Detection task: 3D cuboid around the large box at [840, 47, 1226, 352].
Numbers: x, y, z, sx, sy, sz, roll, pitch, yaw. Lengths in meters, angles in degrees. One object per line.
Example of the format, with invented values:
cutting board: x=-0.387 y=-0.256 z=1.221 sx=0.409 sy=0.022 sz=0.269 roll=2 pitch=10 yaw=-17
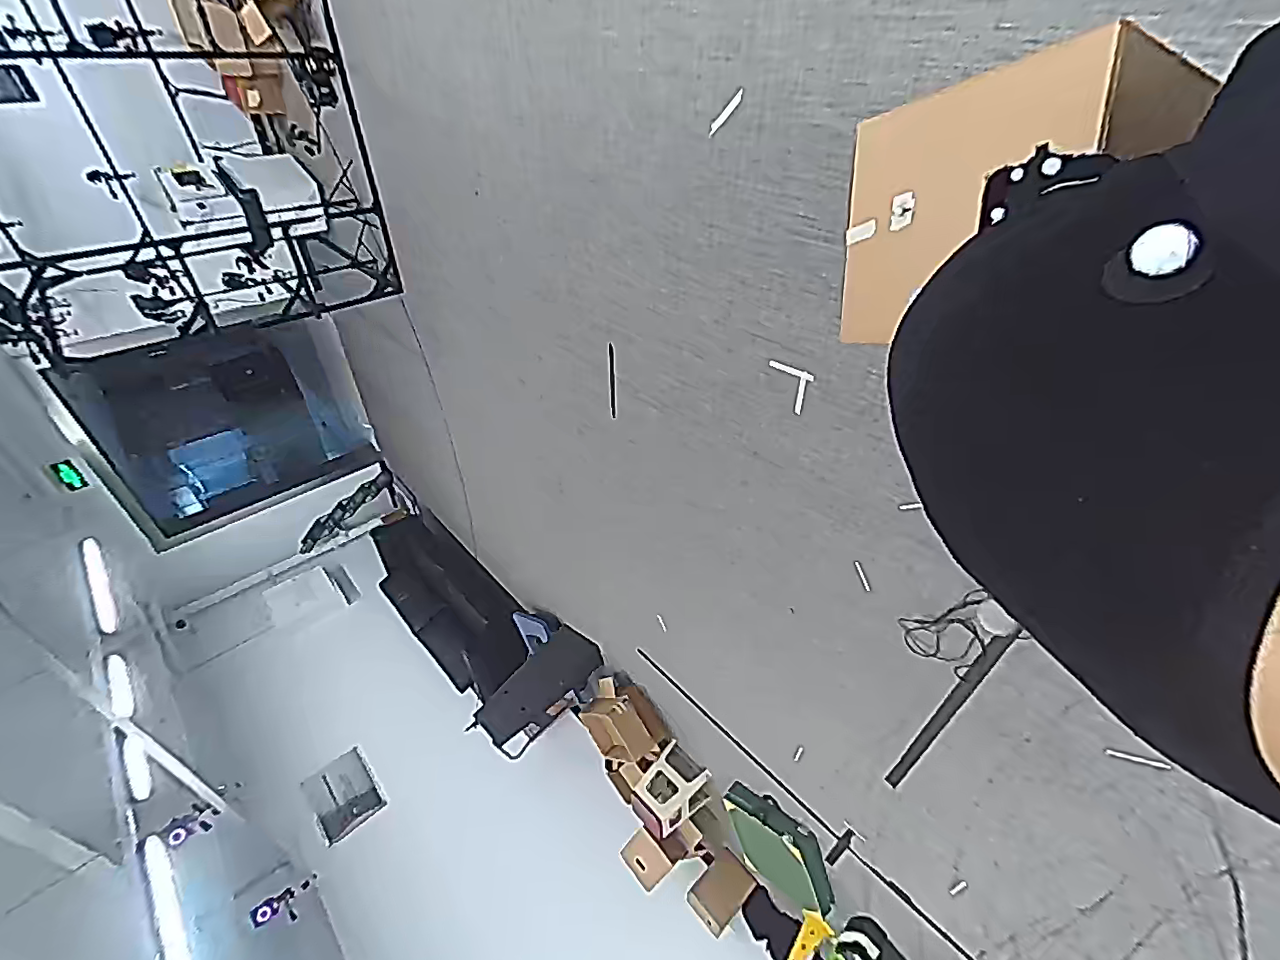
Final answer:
large box: x=0.561 y=-0.364 z=0.811 sx=0.320 sy=0.408 sz=0.320 roll=26 pitch=120 yaw=55
